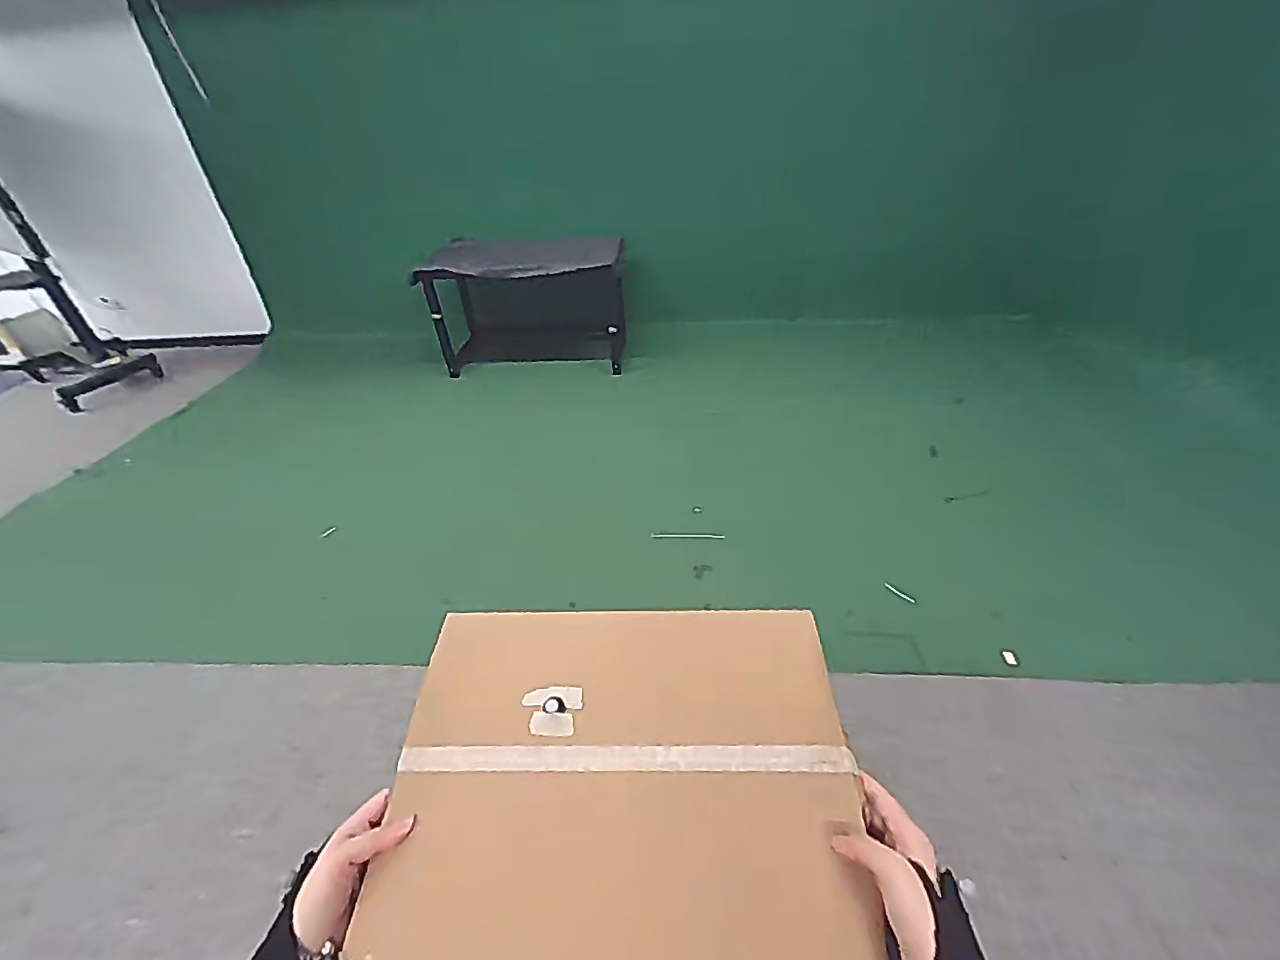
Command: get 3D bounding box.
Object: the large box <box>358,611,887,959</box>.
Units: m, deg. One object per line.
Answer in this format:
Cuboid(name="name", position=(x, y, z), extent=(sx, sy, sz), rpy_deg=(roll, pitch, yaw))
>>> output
Cuboid(name="large box", position=(-0.004, 0.368, 0.603), extent=(0.408, 0.320, 0.320), rpy_deg=(-3, 43, 4))
